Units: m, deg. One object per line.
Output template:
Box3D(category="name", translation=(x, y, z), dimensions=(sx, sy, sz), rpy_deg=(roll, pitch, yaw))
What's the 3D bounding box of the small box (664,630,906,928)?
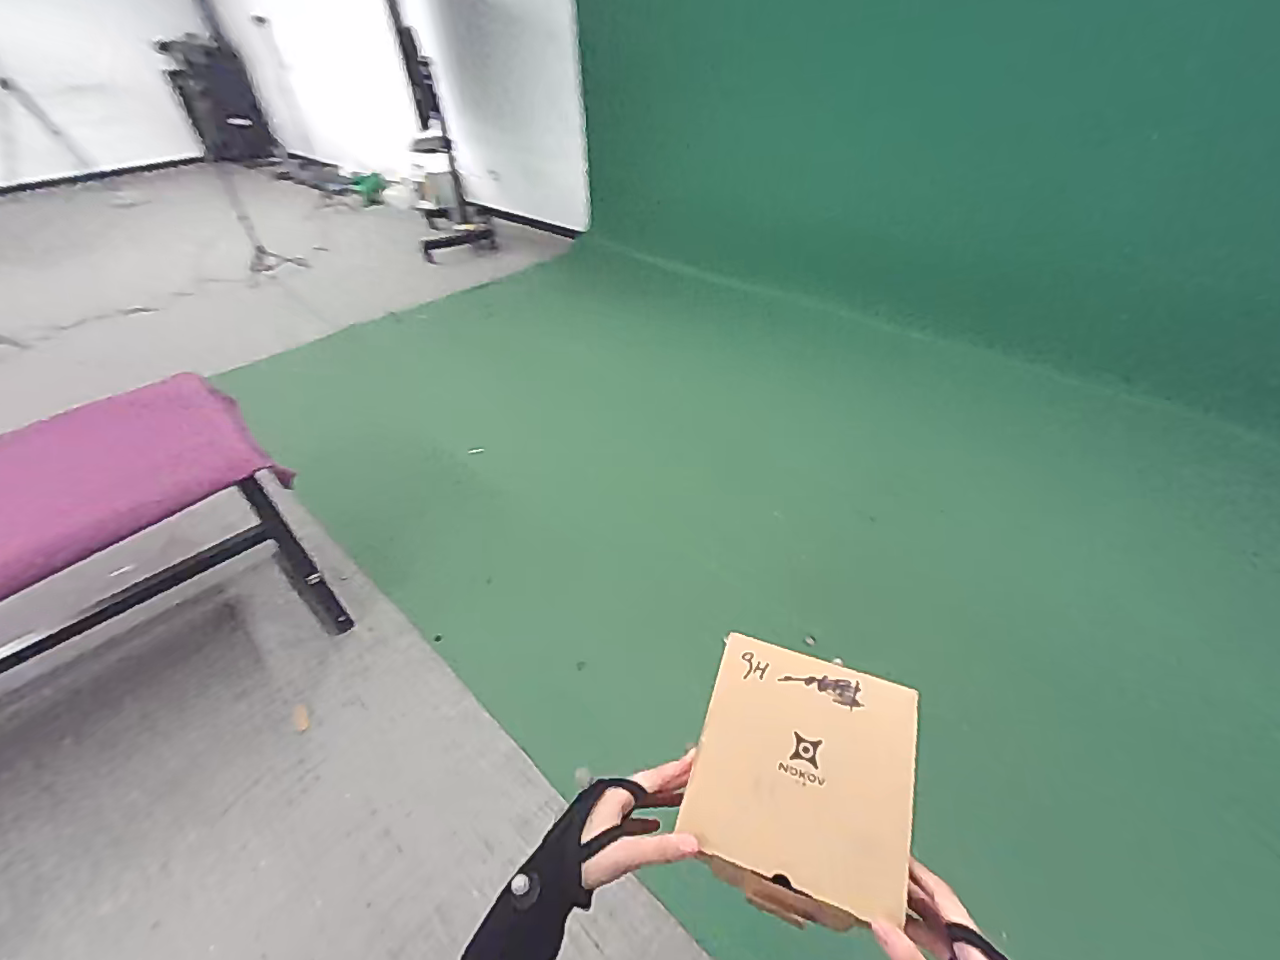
Box3D(category="small box", translation=(0.130, 0.272, 0.505), dimensions=(0.168, 0.176, 0.179), rpy_deg=(14, 57, 15))
